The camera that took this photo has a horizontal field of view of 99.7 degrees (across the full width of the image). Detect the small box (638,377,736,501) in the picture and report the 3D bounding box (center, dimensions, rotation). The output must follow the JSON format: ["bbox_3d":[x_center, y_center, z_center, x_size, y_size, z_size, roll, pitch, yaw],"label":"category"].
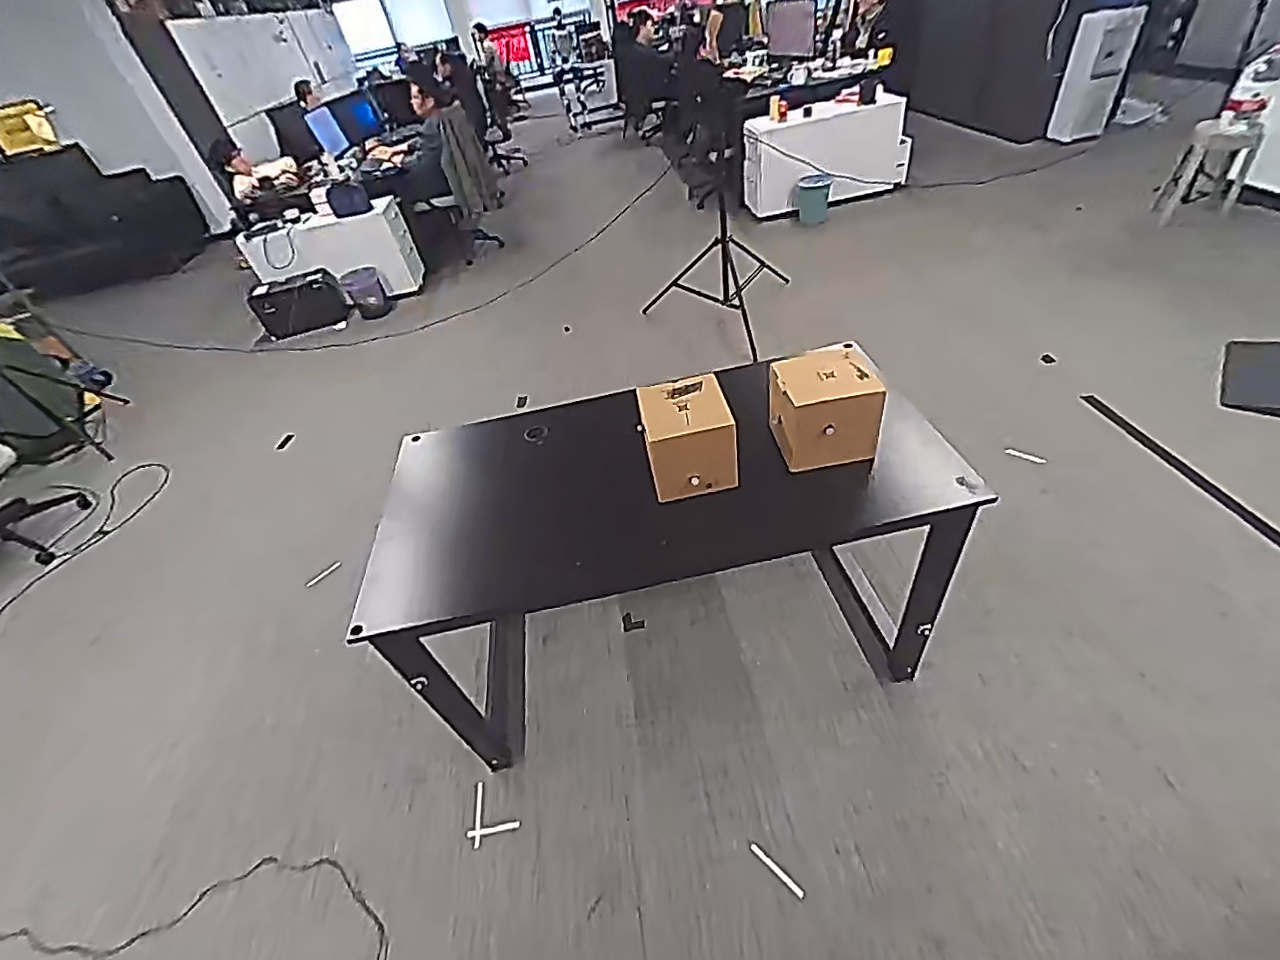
[{"bbox_3d":[0.095,-0.084,1.108,0.168,0.176,0.179,-12,43,1],"label":"small box"}]

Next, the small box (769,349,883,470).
[{"bbox_3d":[0.371,-0.140,1.105,0.179,0.176,0.168,-11,42,3],"label":"small box"}]
